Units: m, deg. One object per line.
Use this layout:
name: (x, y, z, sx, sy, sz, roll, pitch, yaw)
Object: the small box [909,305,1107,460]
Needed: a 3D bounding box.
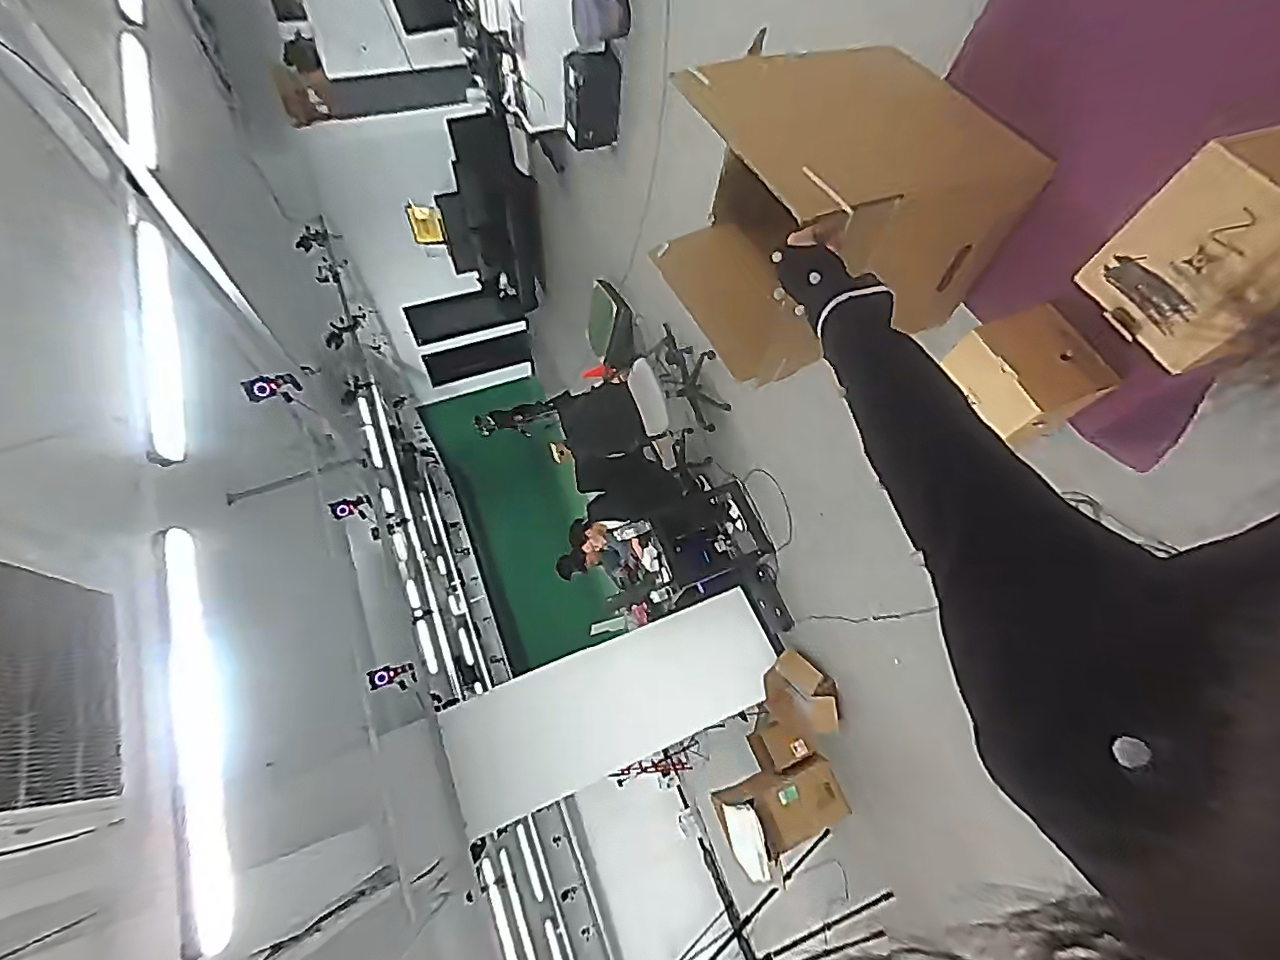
small box: (0.603, -0.160, 0.901, 0.179, 0.176, 0.168, 105, 143, -63)
